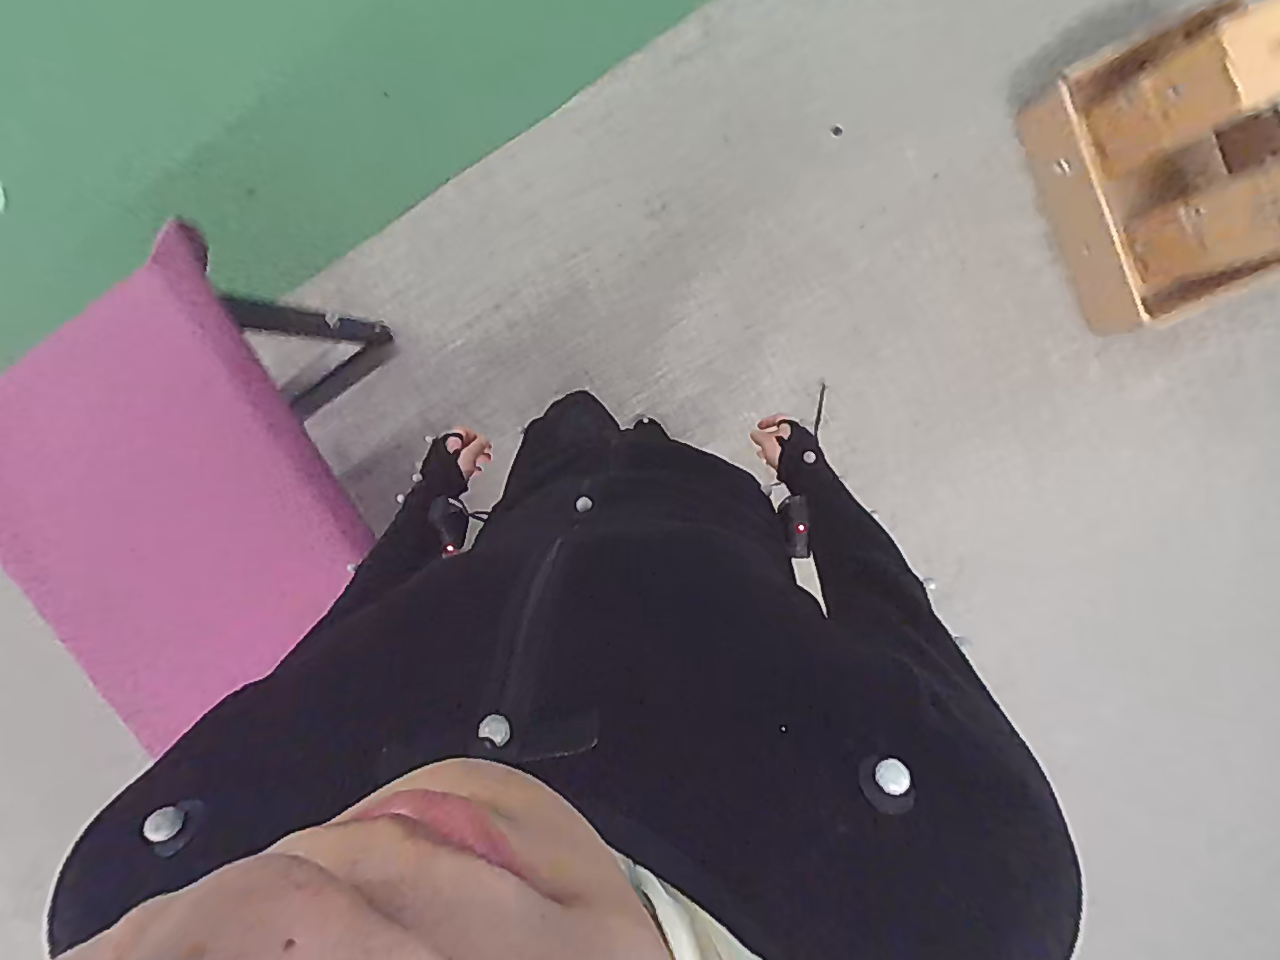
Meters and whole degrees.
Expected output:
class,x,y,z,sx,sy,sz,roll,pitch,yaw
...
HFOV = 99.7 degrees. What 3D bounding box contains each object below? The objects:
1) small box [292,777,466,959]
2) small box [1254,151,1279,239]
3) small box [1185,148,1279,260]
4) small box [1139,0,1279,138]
class,x,y,z,sx,sy,sz,roll,pitch,yaw
small box,-0.438,0.664,0.936,0.179,0.176,0.168,-32,96,9
small box,1.281,-0.559,0.957,0.179,0.176,0.168,-26,95,8
small box,1.296,-0.584,1.119,0.179,0.176,0.168,-24,96,6
small box,1.176,-0.837,1.084,0.179,0.176,0.168,-26,98,7
